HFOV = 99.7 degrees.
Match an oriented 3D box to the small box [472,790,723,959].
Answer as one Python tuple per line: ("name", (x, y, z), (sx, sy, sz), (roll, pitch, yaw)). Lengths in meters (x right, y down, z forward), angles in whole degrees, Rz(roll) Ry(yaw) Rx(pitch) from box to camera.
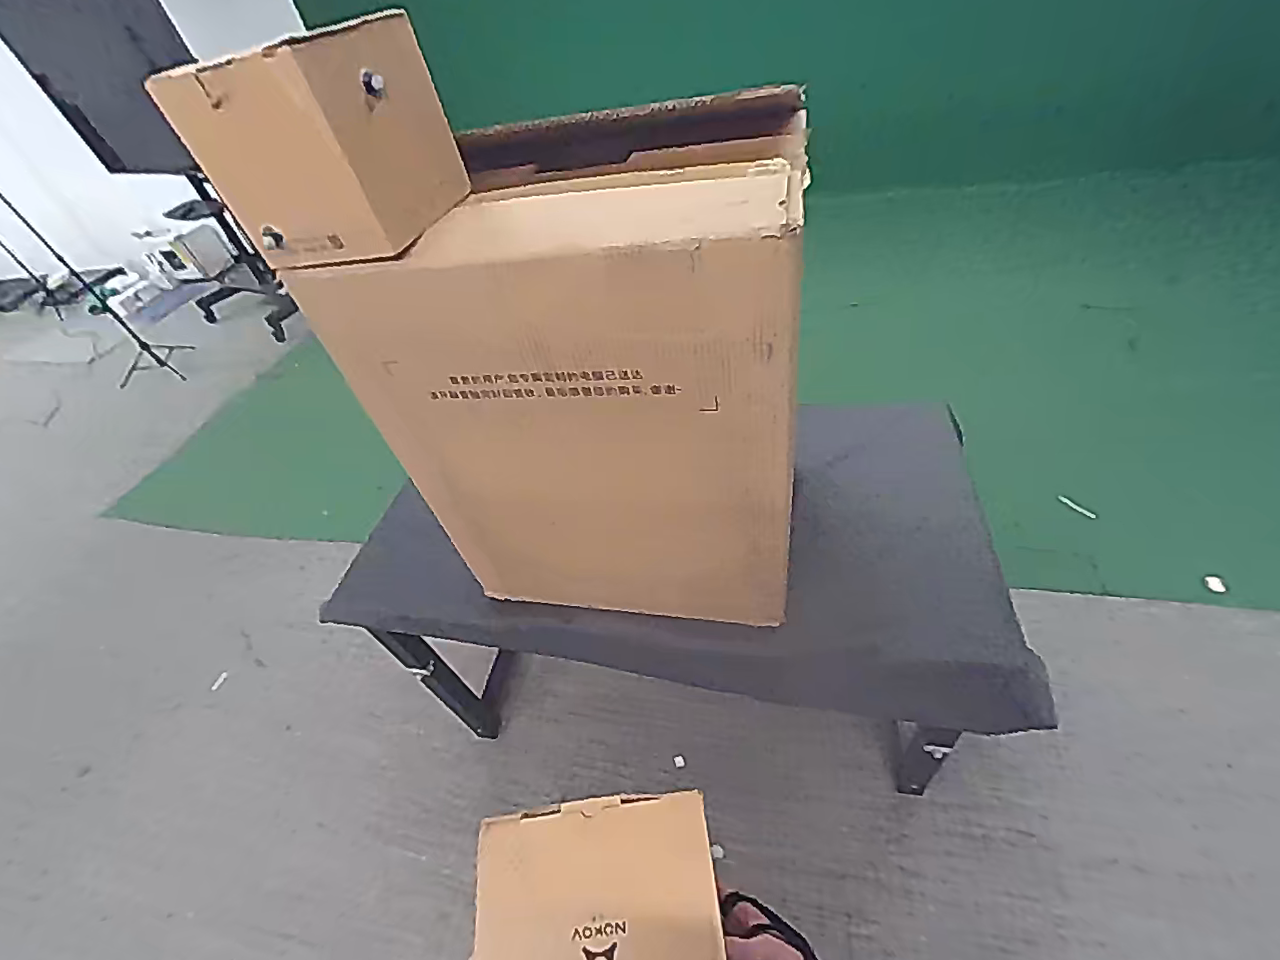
("small box", (-0.026, 0.353, 0.420), (0.168, 0.176, 0.179), (-7, 59, -1))

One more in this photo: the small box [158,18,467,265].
("small box", (-0.307, -0.333, 0.553), (0.168, 0.176, 0.179), (2, 46, 18))
